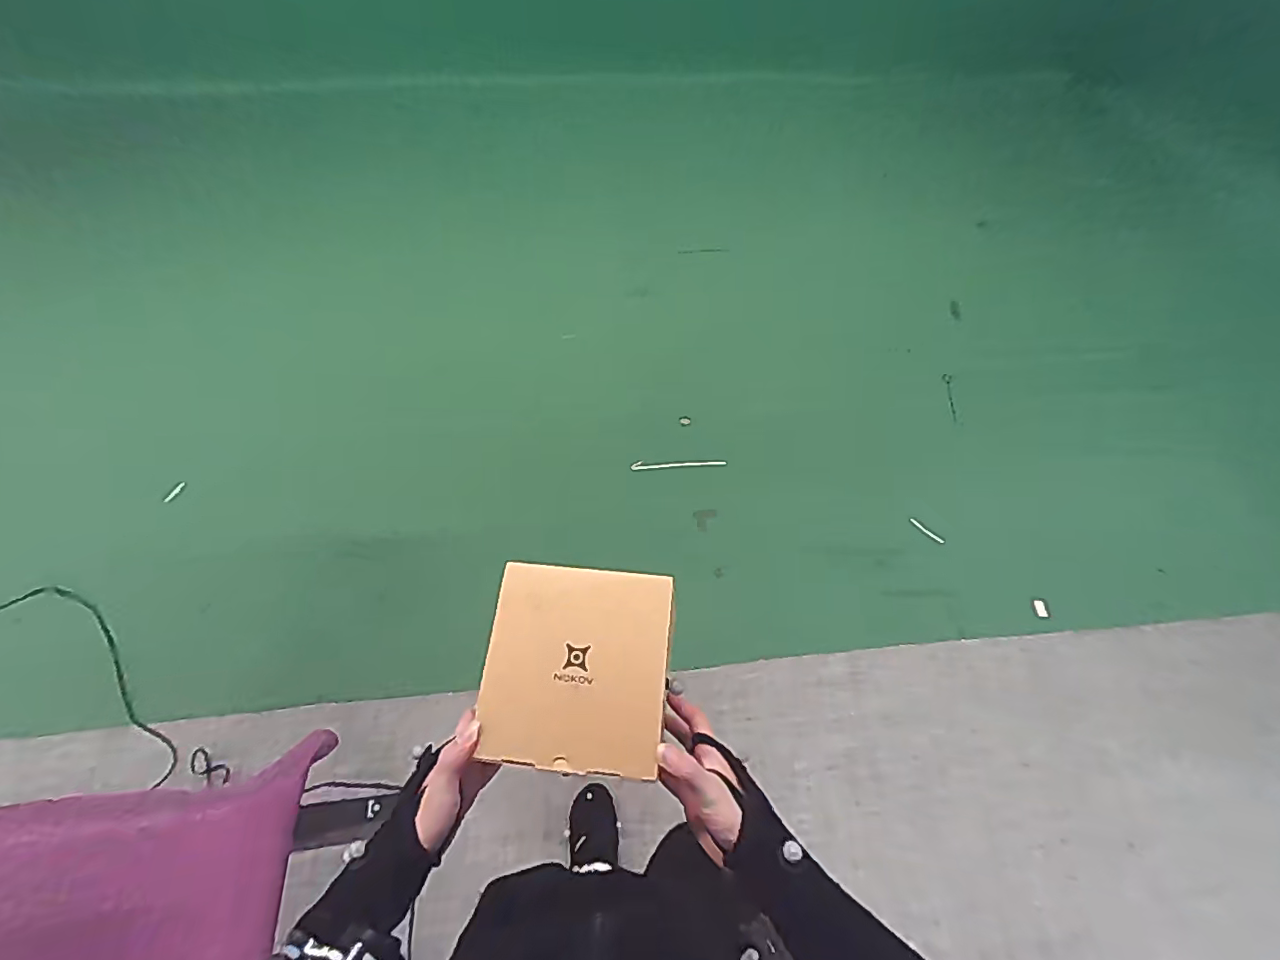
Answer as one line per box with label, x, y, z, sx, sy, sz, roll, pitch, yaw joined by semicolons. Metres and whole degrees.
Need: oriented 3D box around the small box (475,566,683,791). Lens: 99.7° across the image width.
small box;-0.047;0.202;0.556;0.168;0.176;0.179;5;67;5
